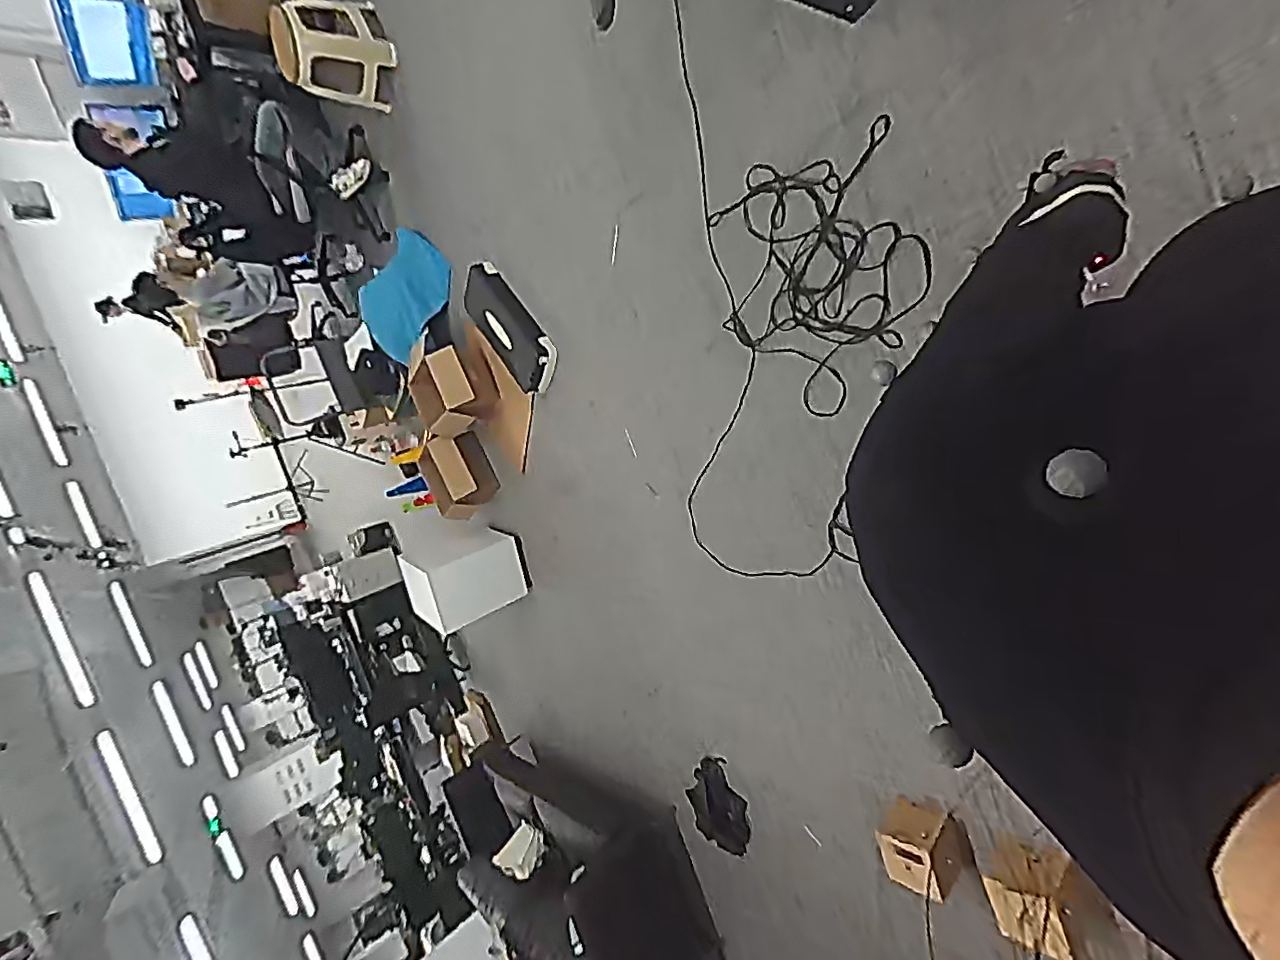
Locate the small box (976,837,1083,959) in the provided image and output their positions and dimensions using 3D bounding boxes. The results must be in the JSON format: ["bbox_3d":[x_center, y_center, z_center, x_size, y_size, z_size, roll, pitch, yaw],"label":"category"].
[{"bbox_3d":[1.021,1.091,1.414,0.168,0.176,0.179,-17,94,53],"label":"small box"}]
